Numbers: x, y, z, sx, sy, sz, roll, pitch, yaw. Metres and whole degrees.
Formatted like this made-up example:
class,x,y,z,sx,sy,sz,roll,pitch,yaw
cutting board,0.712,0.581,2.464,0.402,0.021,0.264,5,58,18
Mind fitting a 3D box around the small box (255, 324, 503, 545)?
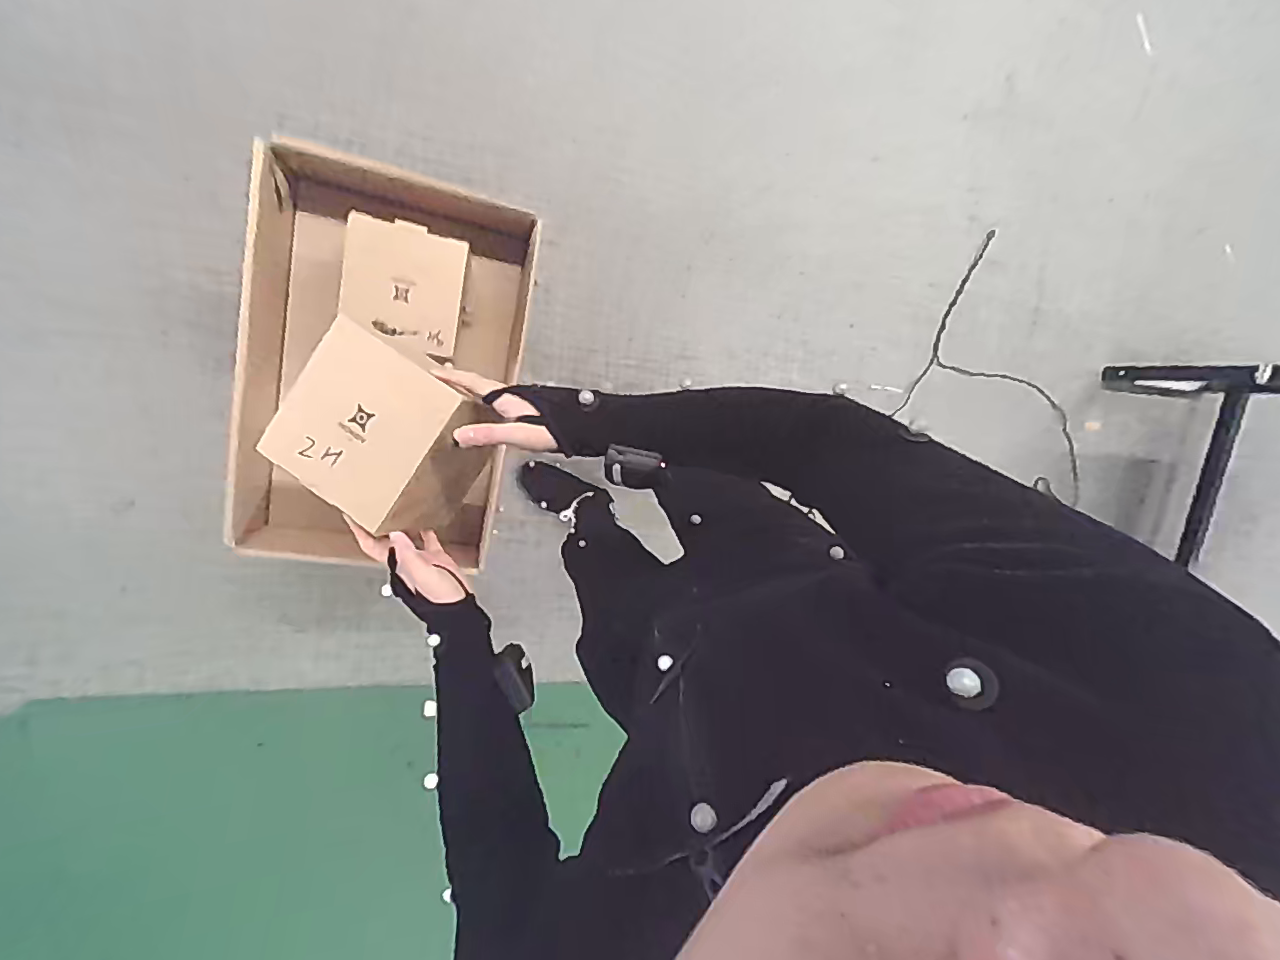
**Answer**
class,x,y,z,sx,sy,sz,roll,pitch,yaw
small box,-0.284,-0.045,0.638,0.168,0.176,0.179,35,91,6
